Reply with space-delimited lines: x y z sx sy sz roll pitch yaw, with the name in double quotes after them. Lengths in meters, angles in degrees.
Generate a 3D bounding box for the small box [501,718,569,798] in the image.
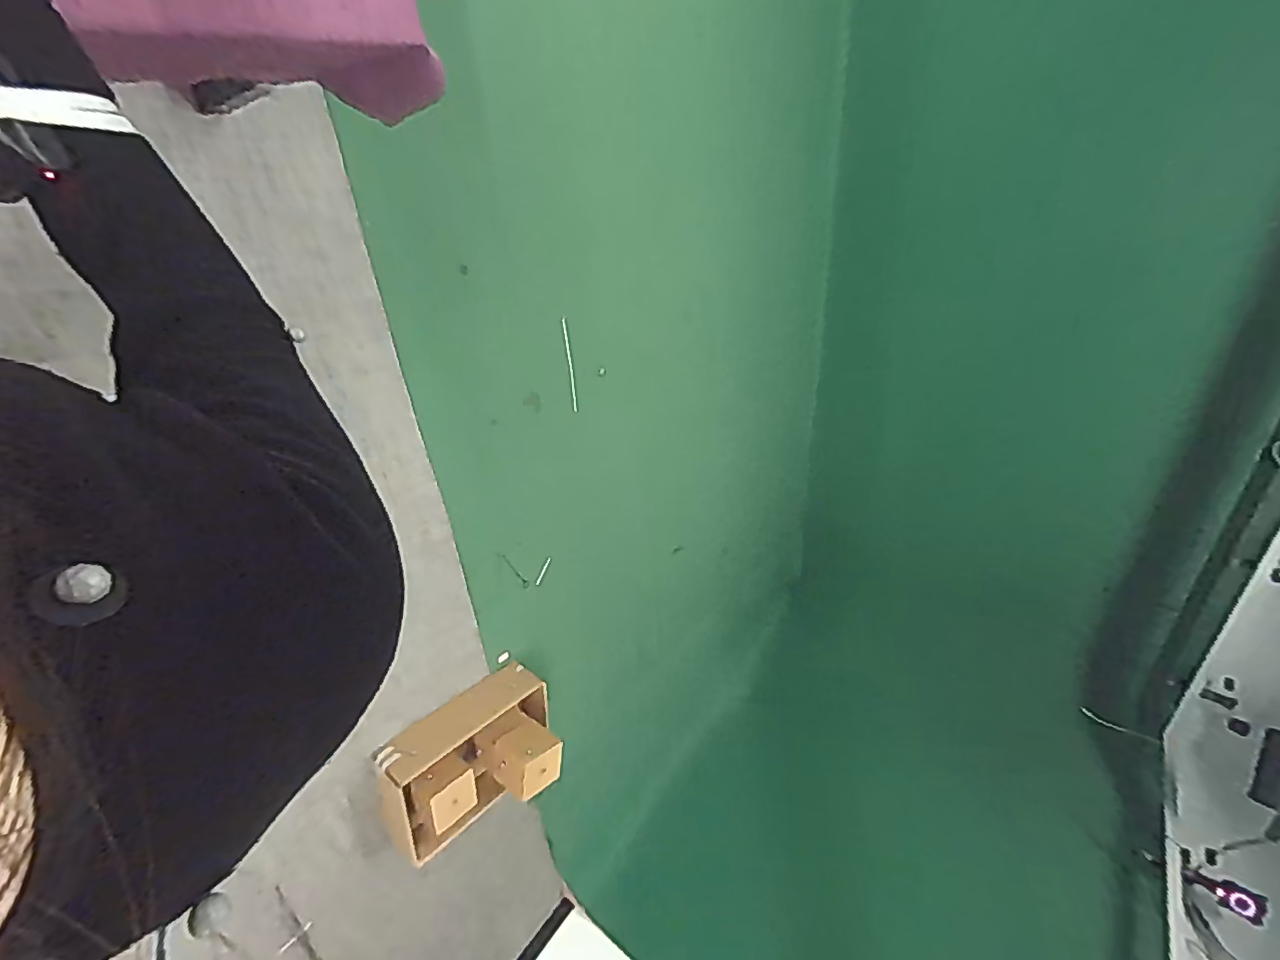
-0.388 1.017 1.998 0.179 0.176 0.168 -9 111 -48 "small box"
